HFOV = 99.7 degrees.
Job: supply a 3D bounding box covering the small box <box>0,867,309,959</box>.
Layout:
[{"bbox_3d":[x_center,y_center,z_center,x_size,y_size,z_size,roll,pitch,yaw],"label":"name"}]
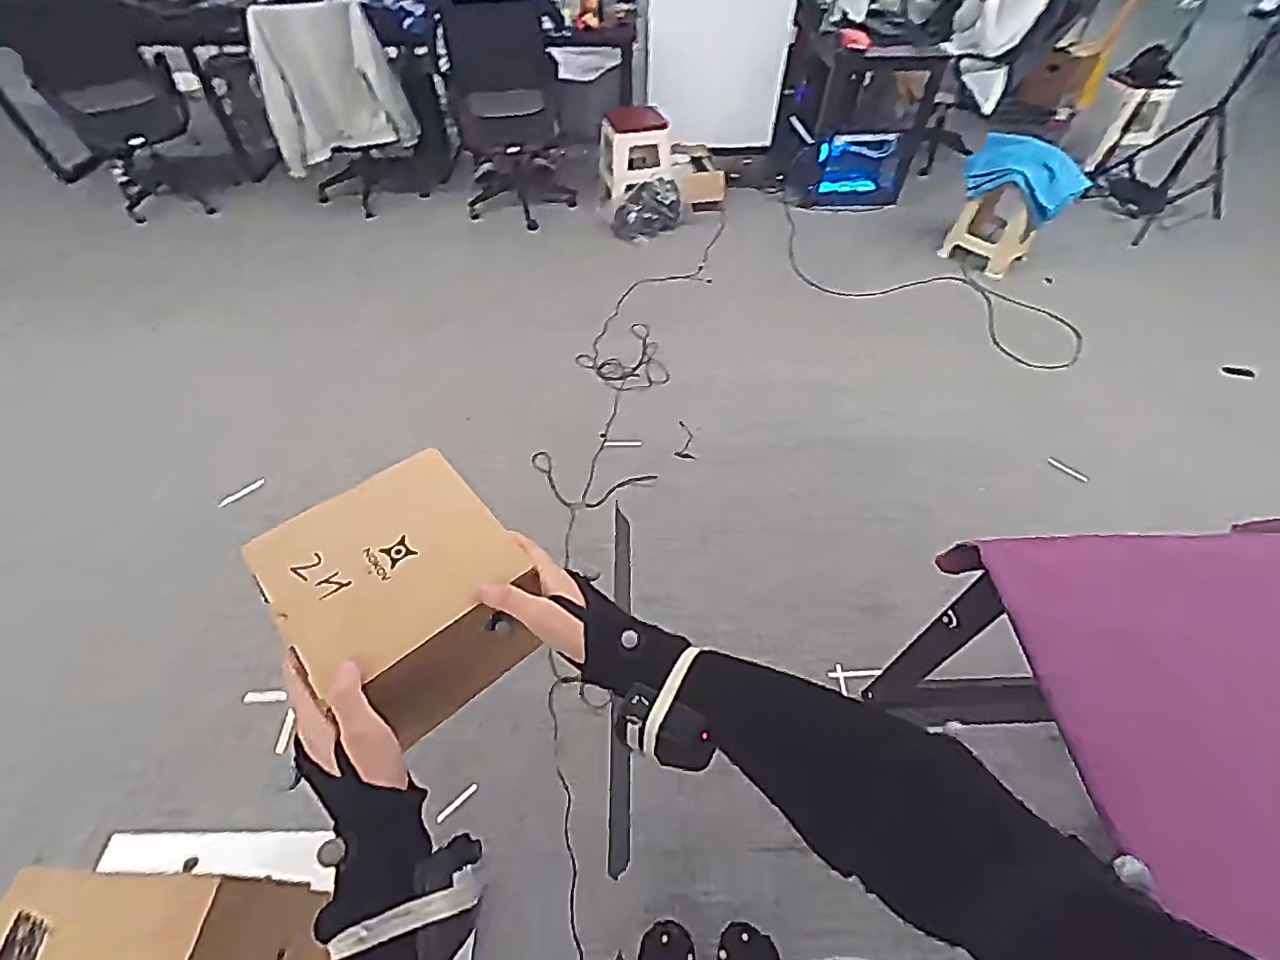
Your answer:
[{"bbox_3d":[-0.437,0.446,0.469,0.179,0.176,0.168,1,51,0],"label":"small box"}]
